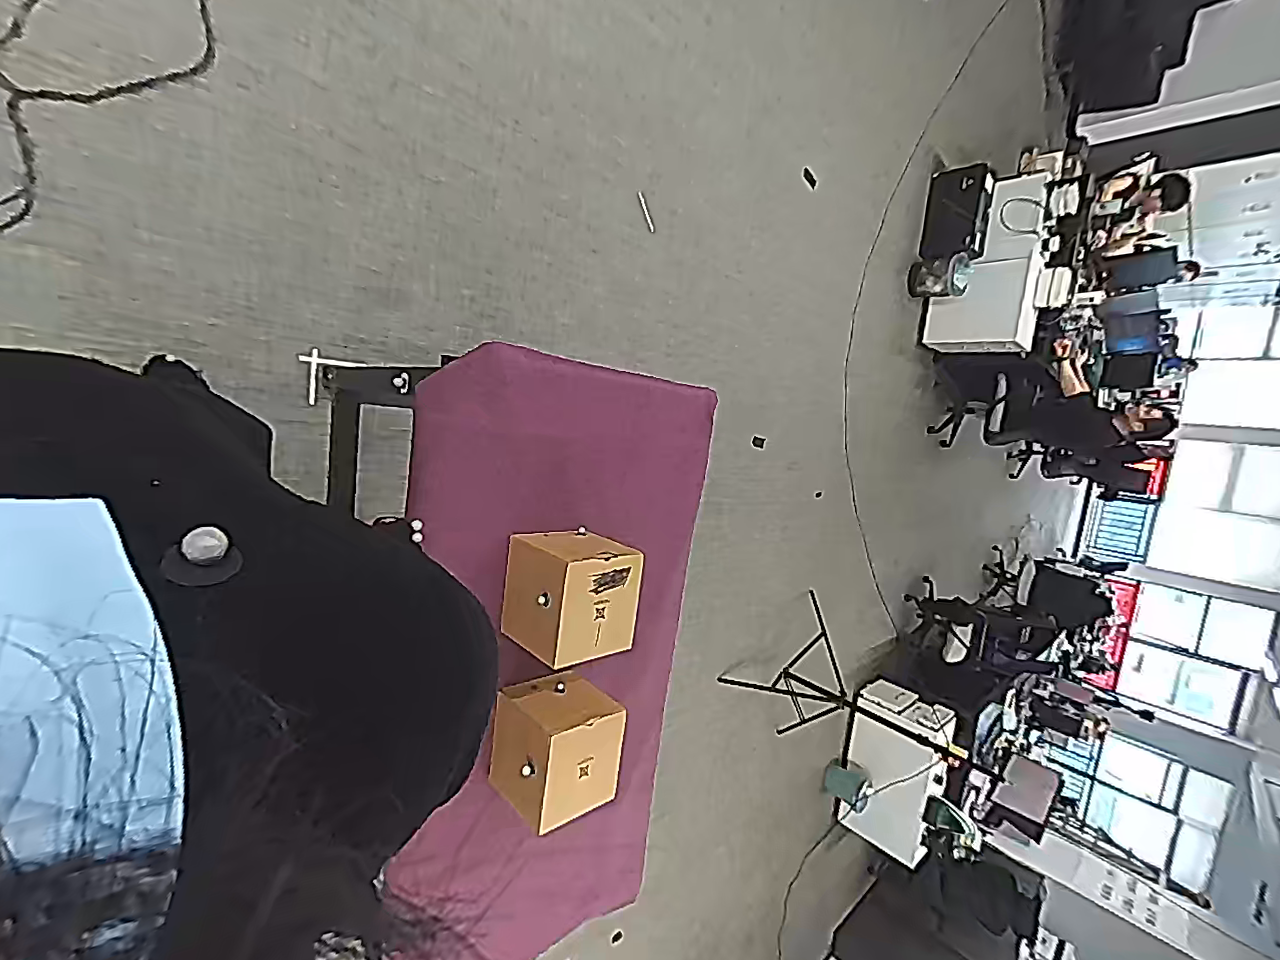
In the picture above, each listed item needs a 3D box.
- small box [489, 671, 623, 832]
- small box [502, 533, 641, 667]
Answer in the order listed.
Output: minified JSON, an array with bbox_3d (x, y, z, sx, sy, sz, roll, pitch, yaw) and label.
[{"bbox_3d":[-0.156,0.474,0.973,0.168,0.176,0.179,3,97,-45],"label":"small box"},{"bbox_3d":[-0.123,0.193,0.937,0.168,0.176,0.179,2,99,-44],"label":"small box"}]
